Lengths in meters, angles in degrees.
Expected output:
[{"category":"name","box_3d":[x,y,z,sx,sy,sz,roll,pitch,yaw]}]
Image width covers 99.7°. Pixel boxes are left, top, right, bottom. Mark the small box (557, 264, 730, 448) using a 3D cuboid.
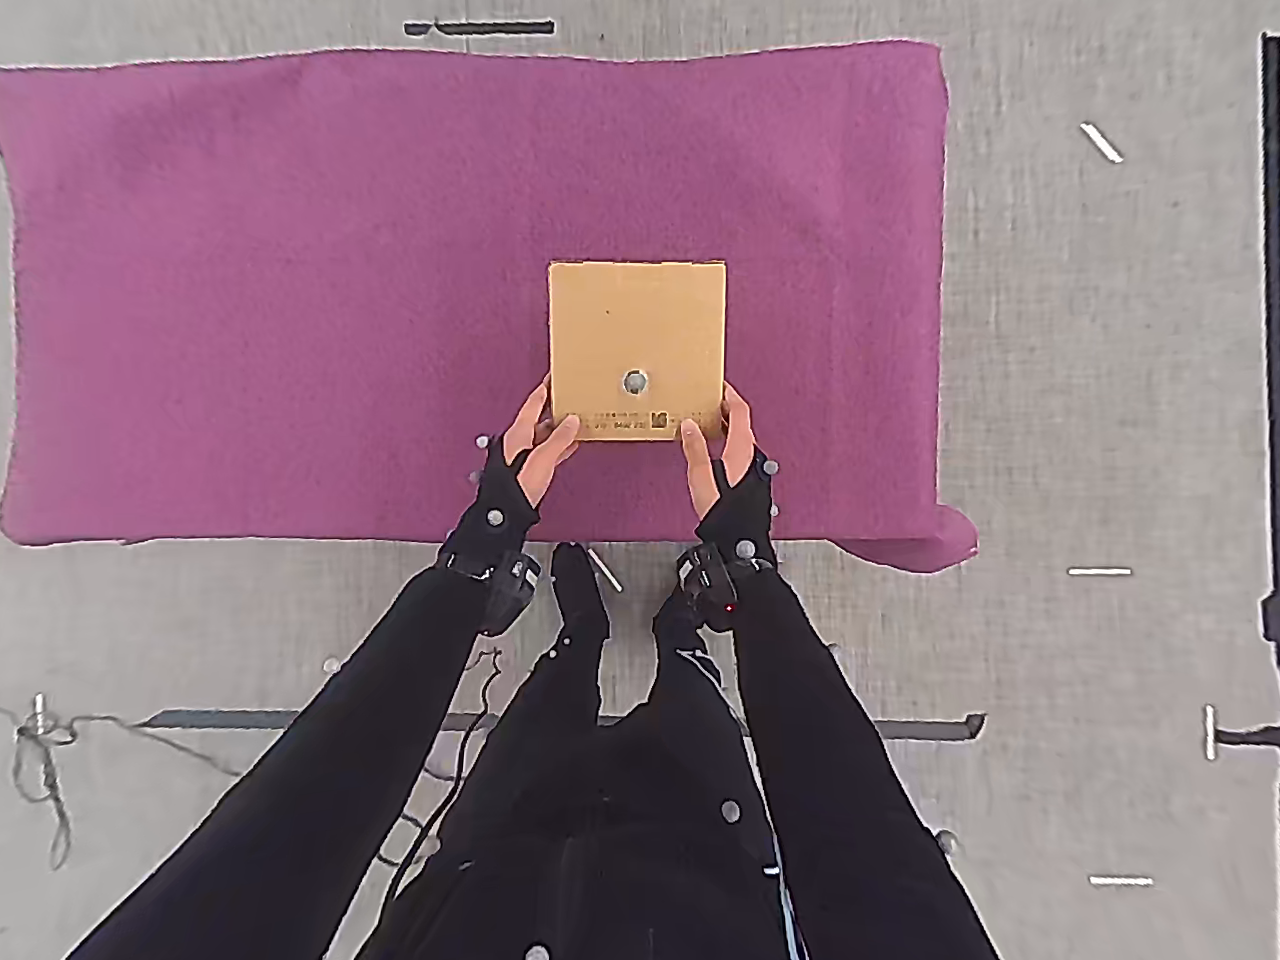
[{"category":"small box","box_3d":[0.000,-0.127,0.598,0.168,0.179,0.176,1,98,-1]}]
